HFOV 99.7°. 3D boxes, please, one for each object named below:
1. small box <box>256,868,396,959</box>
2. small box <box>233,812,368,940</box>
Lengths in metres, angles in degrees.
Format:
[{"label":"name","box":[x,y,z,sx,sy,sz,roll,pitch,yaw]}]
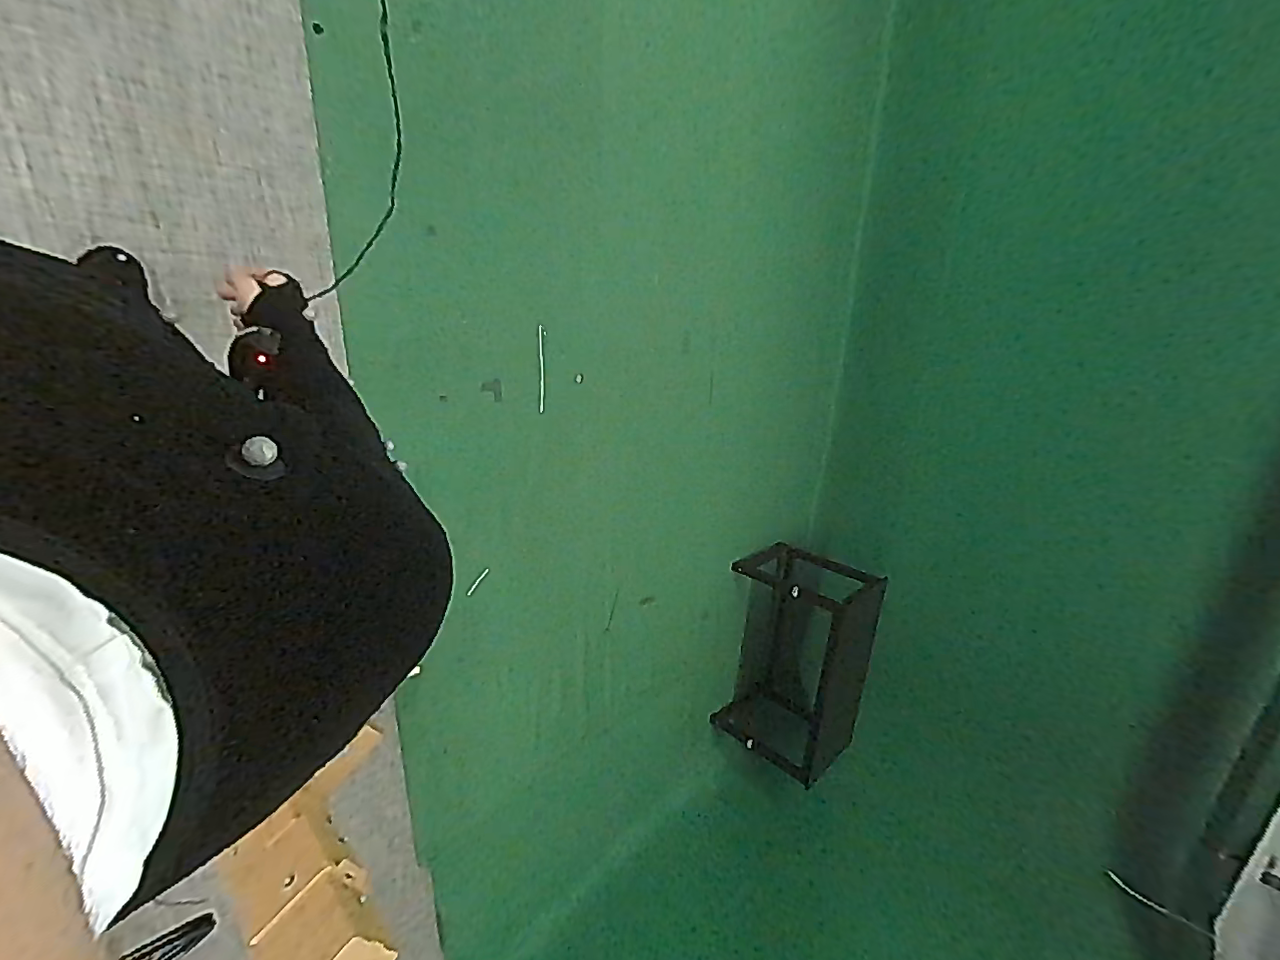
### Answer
[{"label":"small box","box":[-0.650,0.960,1.112,0.179,0.176,0.168,-43,134,-28]},{"label":"small box","box":[-0.763,0.898,1.216,0.179,0.176,0.168,-43,133,-28]}]
